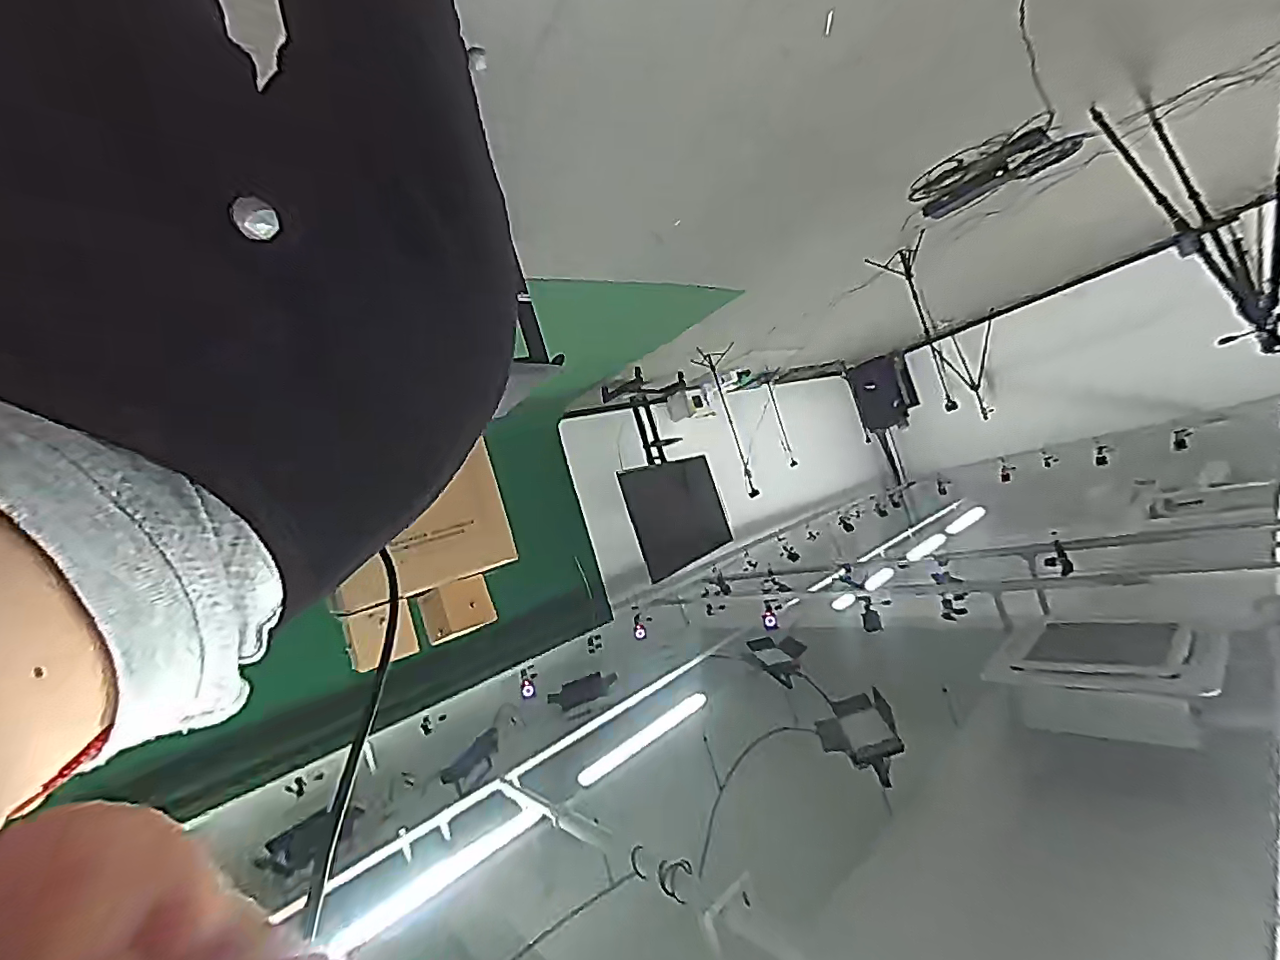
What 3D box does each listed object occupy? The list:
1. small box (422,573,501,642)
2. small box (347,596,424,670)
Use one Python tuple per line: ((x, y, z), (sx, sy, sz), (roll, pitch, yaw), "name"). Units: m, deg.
((-0.620, 0.437, 1.872), (0.168, 0.176, 0.179), (-33, 166, 39), "small box")
((-0.779, 0.458, 1.645), (0.168, 0.176, 0.179), (-14, 176, -36), "small box")
